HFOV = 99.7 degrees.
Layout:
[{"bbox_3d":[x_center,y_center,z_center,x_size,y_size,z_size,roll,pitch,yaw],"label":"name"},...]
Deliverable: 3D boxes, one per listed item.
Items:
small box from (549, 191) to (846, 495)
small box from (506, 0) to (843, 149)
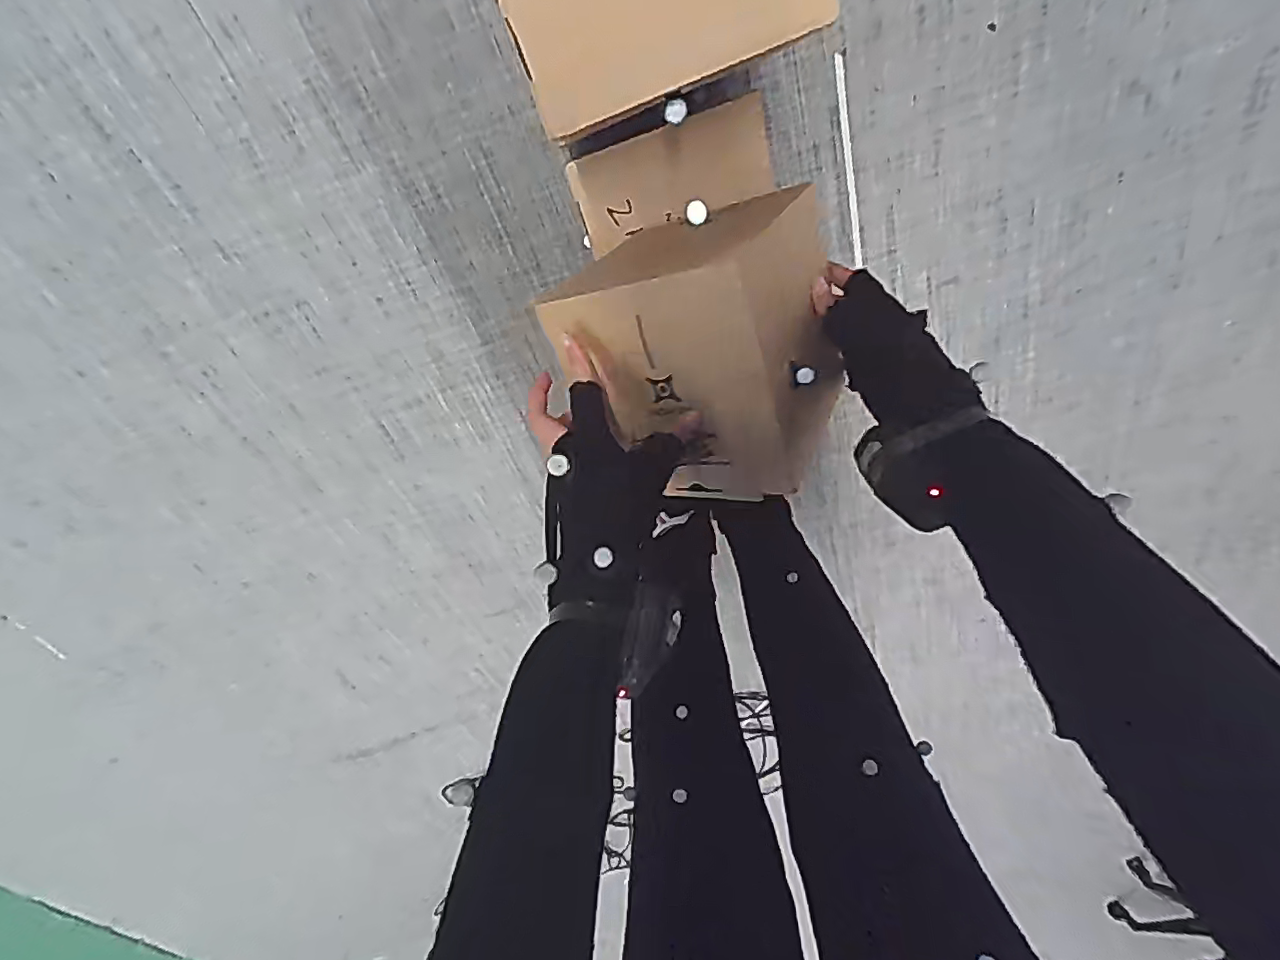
[{"bbox_3d":[0.063,-0.109,0.449,0.168,0.176,0.179,1,128,34],"label":"small box"},{"bbox_3d":[0.004,-0.333,0.339,0.179,0.176,0.168,-17,122,9],"label":"small box"}]
